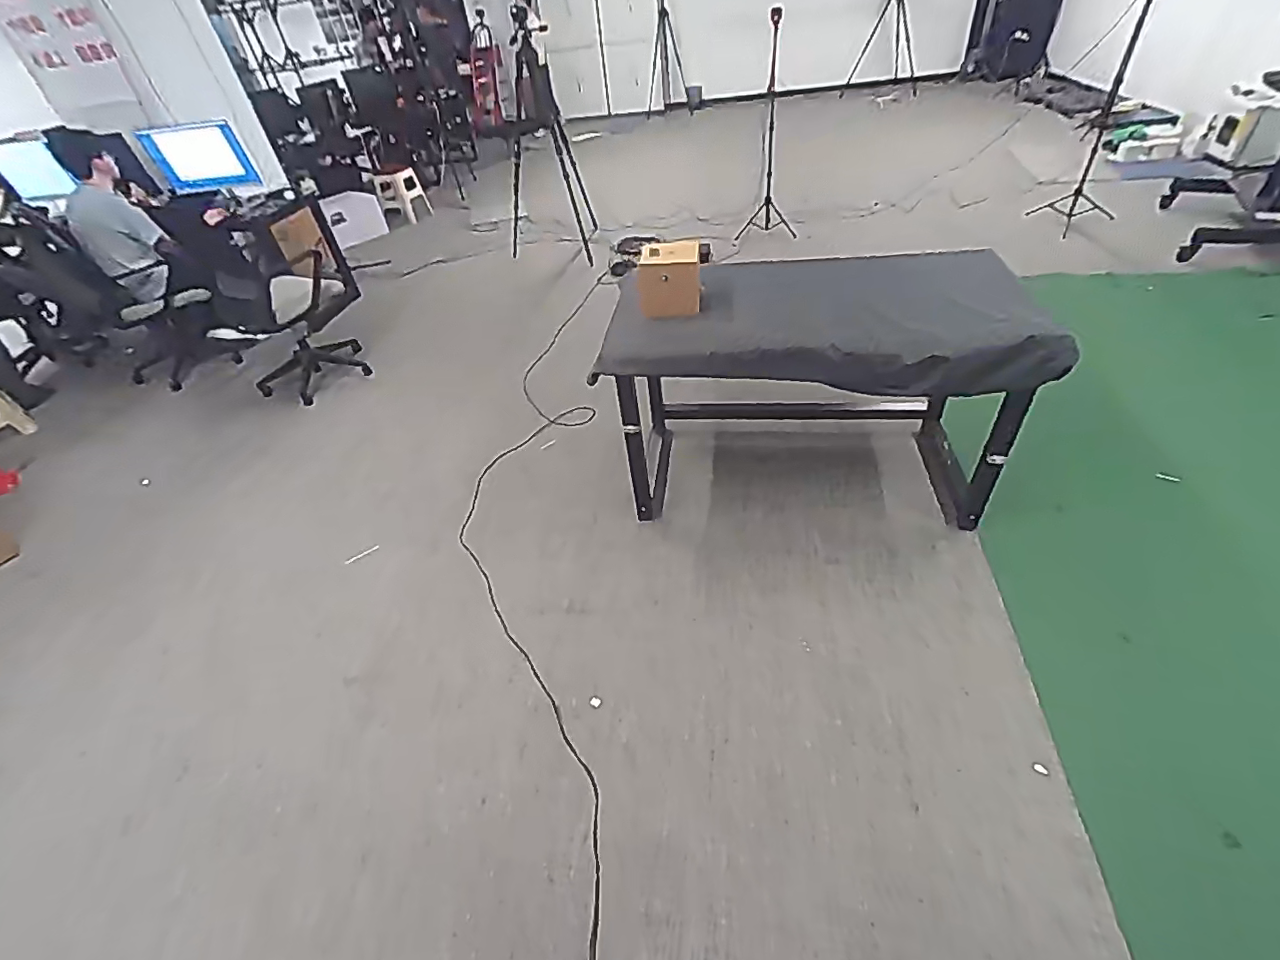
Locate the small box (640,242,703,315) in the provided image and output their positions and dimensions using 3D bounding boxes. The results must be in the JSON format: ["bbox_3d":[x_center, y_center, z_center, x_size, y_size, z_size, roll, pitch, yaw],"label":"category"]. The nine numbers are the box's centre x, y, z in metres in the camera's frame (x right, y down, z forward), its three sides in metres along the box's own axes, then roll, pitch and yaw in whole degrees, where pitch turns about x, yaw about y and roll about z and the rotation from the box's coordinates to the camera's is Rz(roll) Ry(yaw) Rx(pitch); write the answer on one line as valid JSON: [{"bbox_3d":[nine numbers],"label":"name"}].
[{"bbox_3d":[0.103,-0.623,1.680,0.179,0.176,0.168,1,43,8],"label":"small box"}]
